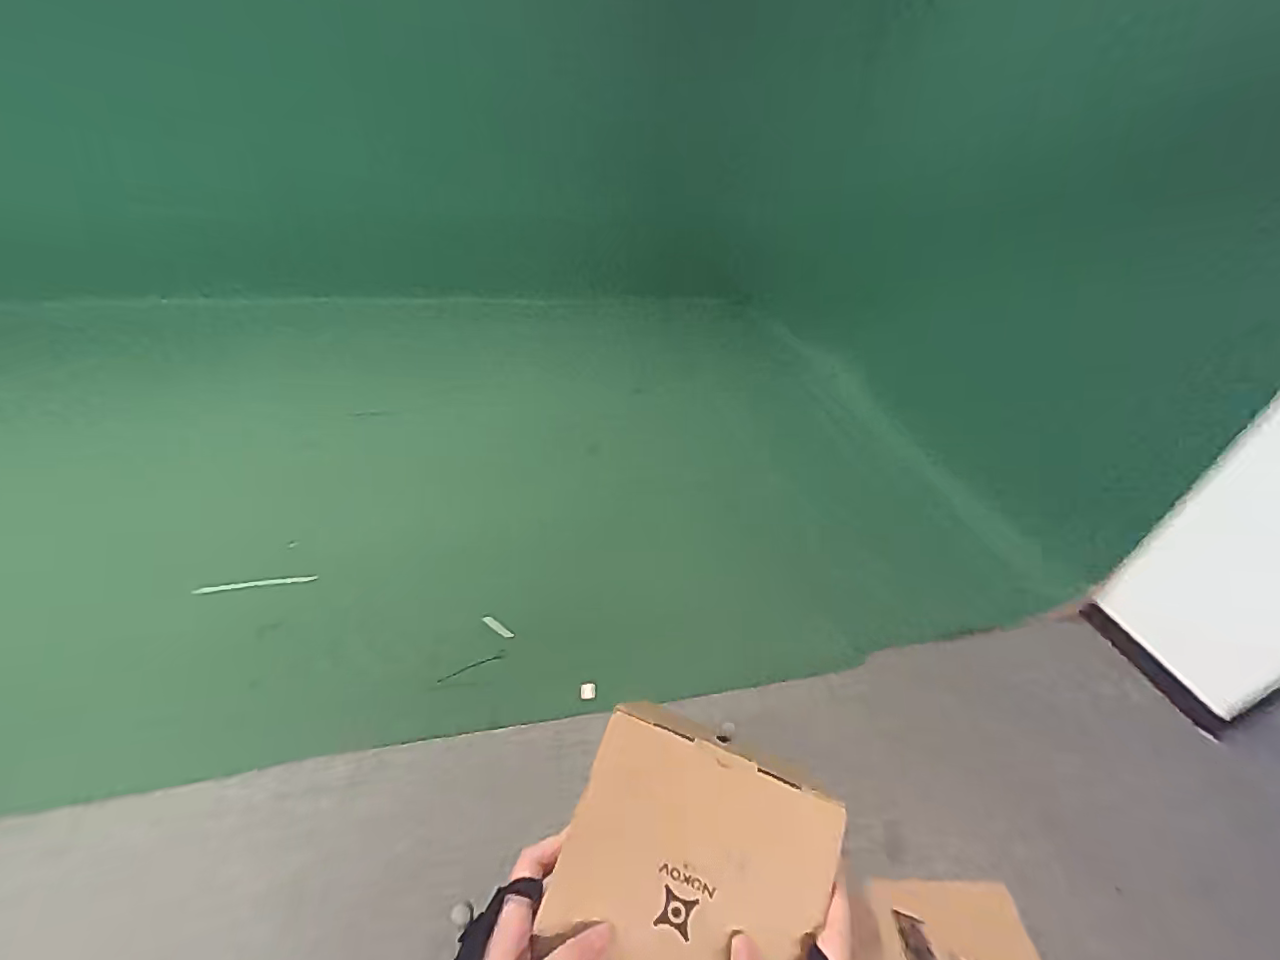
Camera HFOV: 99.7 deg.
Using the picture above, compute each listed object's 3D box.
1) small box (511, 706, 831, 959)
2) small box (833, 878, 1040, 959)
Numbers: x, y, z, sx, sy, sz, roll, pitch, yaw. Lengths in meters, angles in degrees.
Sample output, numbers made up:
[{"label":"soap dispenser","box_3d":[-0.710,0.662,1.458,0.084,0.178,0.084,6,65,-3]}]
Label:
[{"label":"small box","box_3d":[0.029,0.289,0.415,0.168,0.176,0.179,17,72,14]},{"label":"small box","box_3d":[0.340,0.583,0.621,0.179,0.176,0.168,4,39,-3]}]
